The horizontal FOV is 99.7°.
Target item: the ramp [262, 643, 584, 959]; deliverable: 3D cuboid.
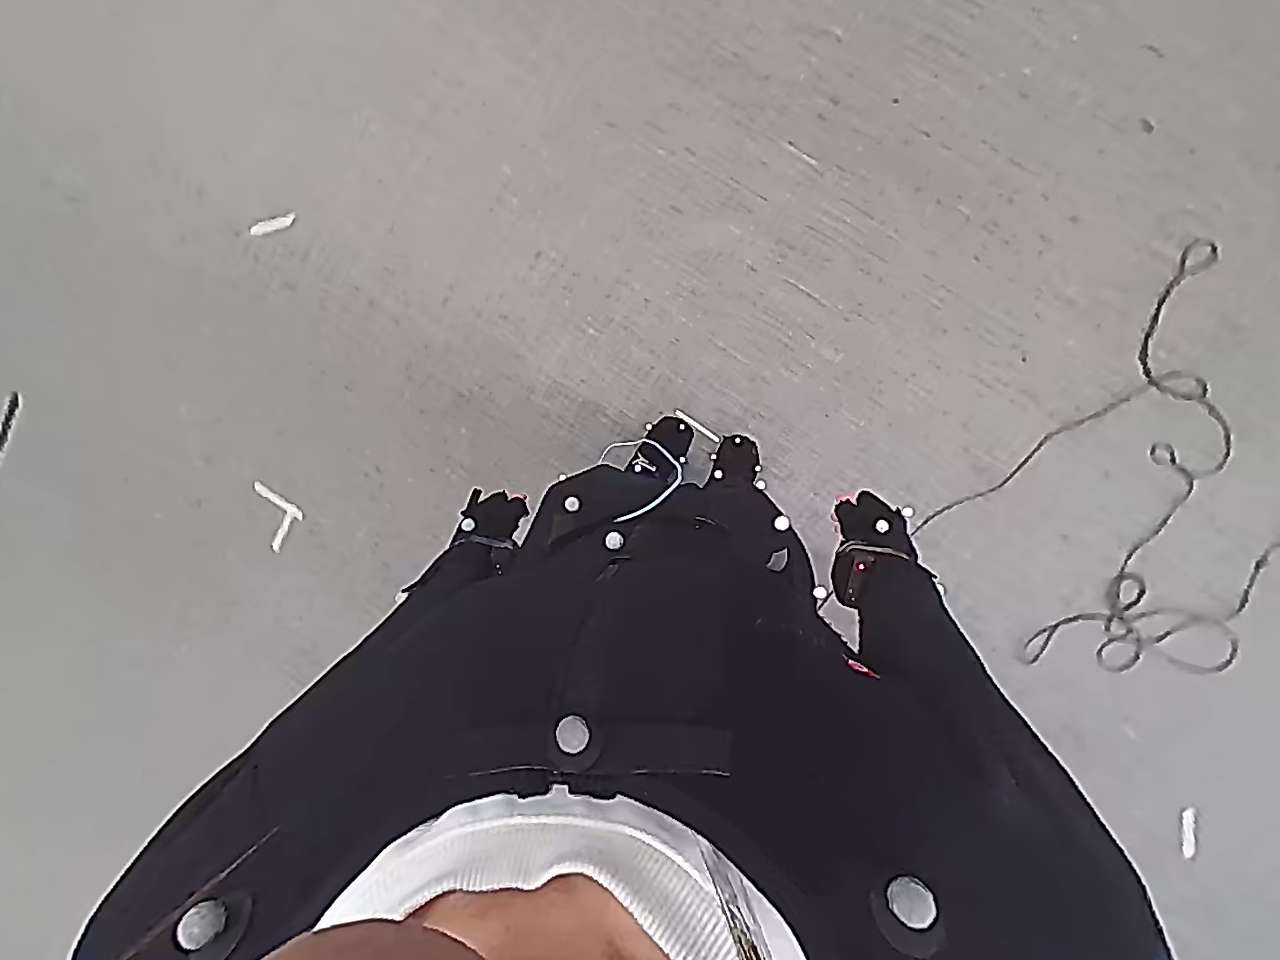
[{"bbox_3d":[-0.648,1.014,1.608,0.509,0.206,0.991,36,101,4],"label":"ramp"}]
